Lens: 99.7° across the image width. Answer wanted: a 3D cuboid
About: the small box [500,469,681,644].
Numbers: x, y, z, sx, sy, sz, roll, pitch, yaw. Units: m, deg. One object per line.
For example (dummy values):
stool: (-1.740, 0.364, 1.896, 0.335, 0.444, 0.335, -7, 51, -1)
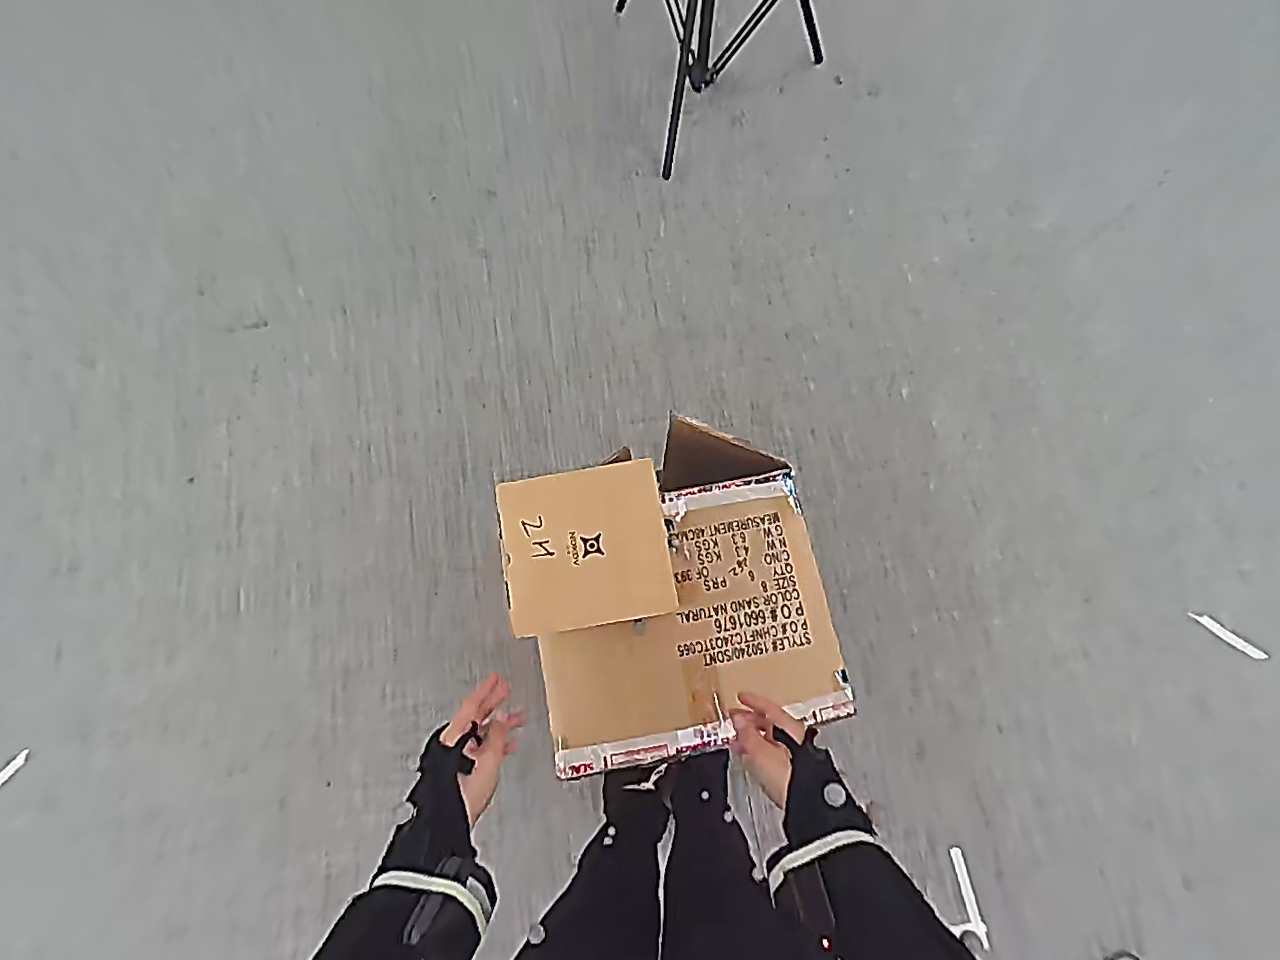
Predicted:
small box: (-0.053, 0.095, 0.650, 0.179, 0.176, 0.168, -10, 77, 1)
